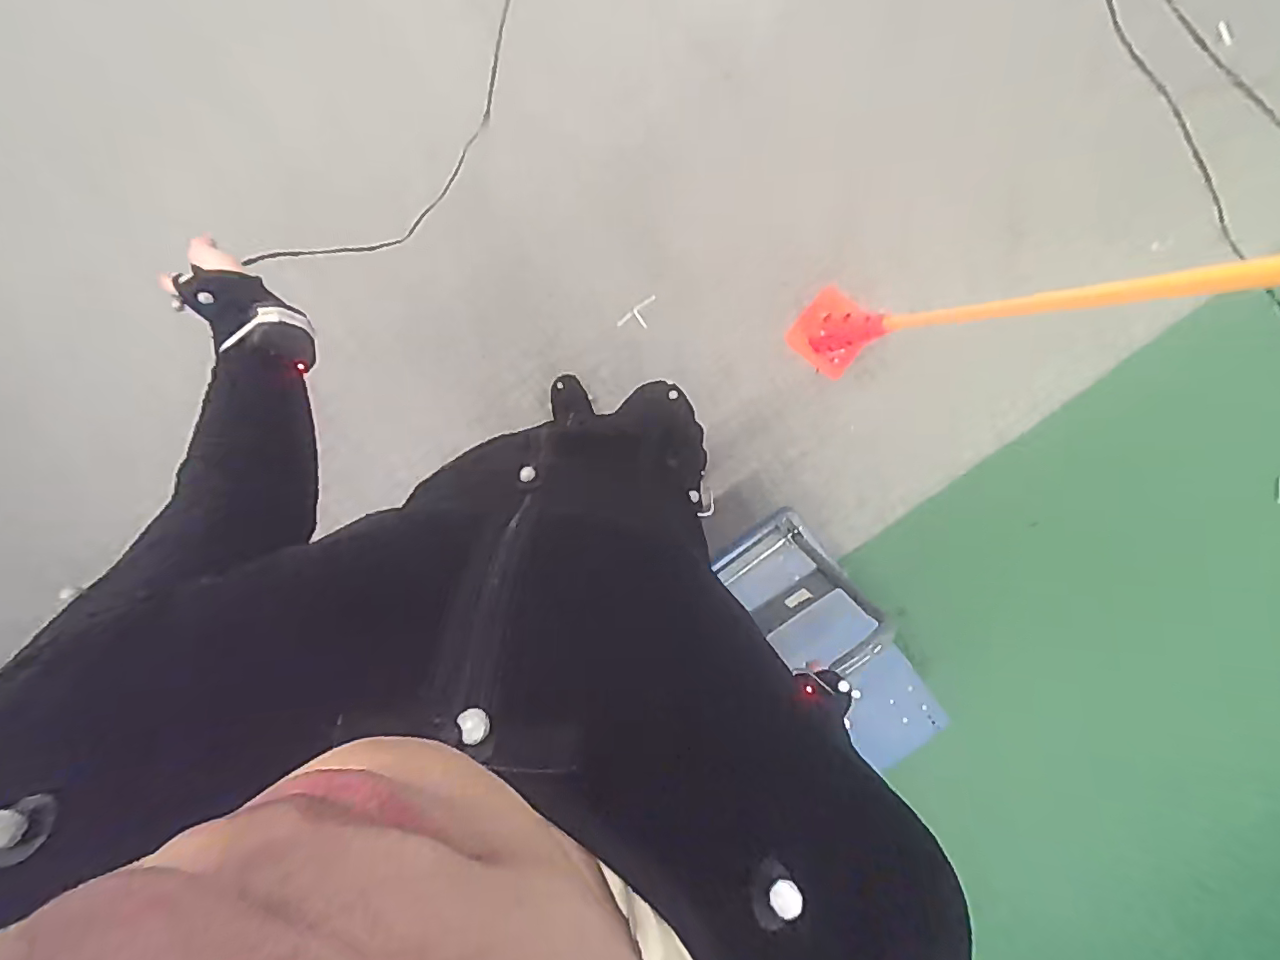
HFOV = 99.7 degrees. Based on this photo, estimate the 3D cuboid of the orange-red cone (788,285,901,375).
[{"bbox_3d":[0.560,-0.396,1.388,0.198,0.360,0.199,37,97,-10],"label":"orange-red cone"}]
